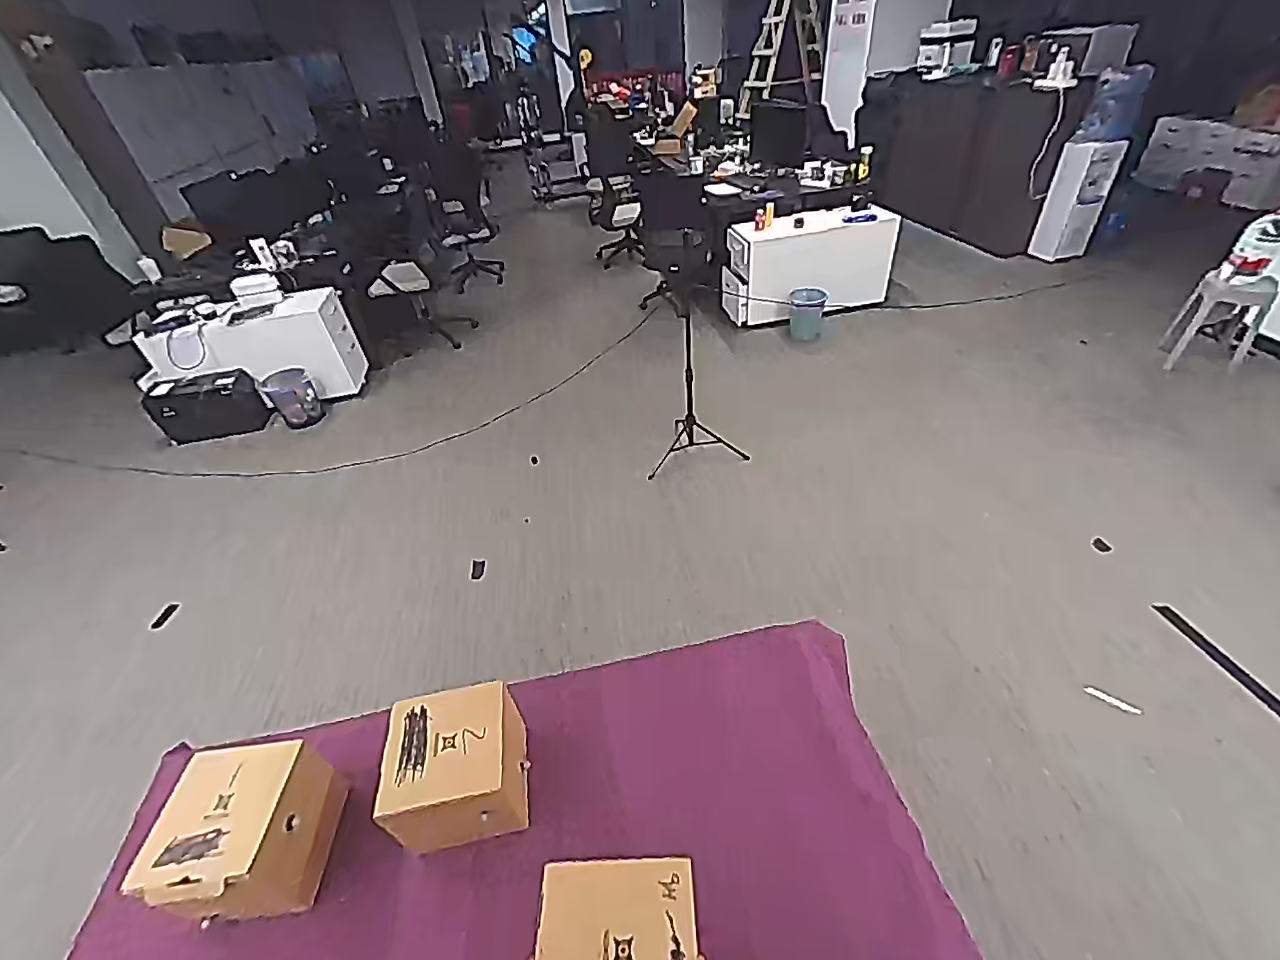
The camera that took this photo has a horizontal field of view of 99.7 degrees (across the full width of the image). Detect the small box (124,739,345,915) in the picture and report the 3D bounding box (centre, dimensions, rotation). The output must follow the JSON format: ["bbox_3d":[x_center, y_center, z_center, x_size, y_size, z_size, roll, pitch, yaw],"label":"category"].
[{"bbox_3d":[-0.569,0.513,0.794,0.168,0.176,0.179,-7,40,0],"label":"small box"}]

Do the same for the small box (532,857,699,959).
[{"bbox_3d":[-0.021,0.554,0.613,0.179,0.176,0.168,-3,37,3],"label":"small box"}]
